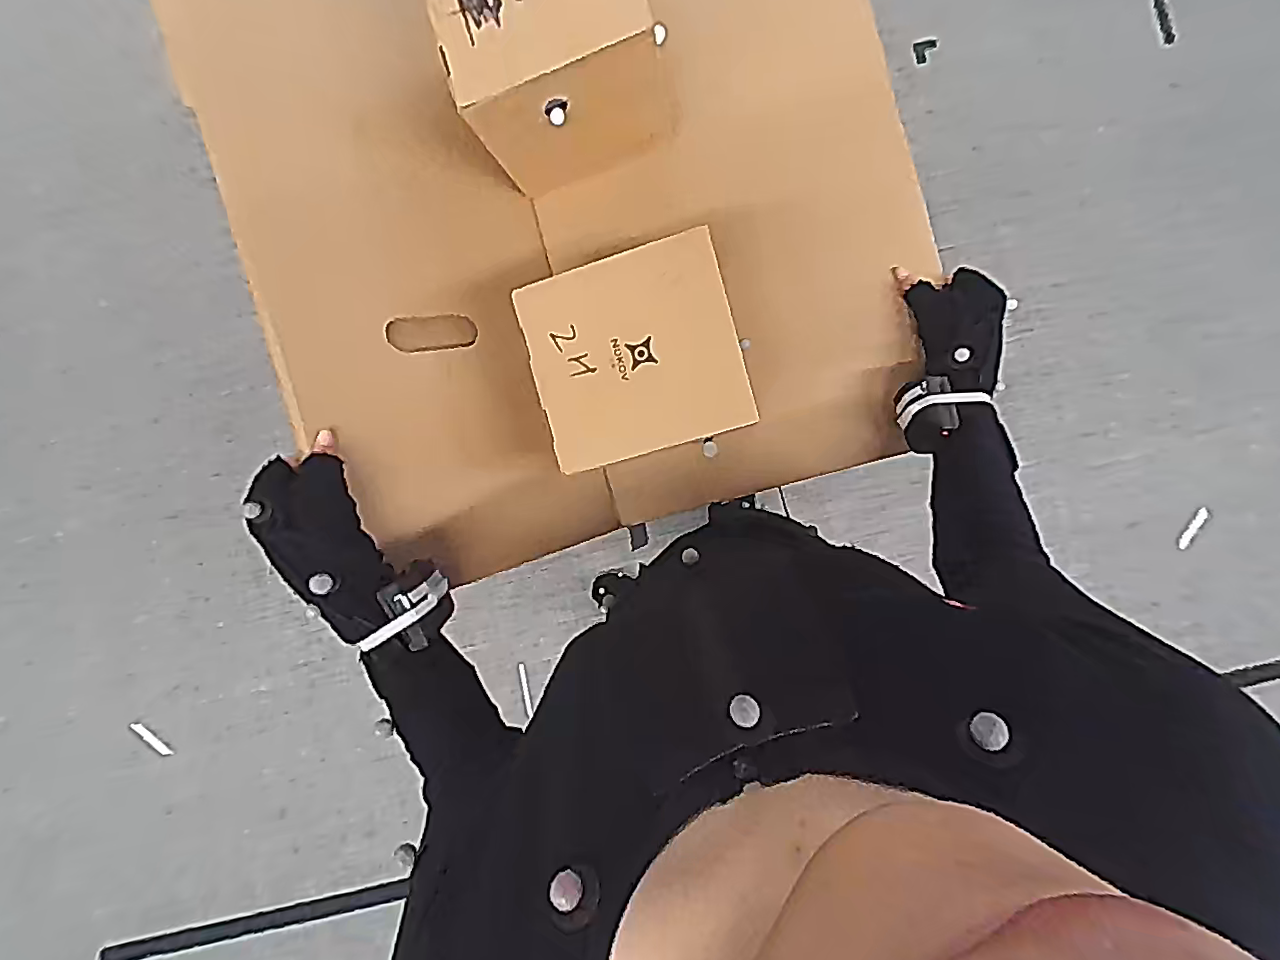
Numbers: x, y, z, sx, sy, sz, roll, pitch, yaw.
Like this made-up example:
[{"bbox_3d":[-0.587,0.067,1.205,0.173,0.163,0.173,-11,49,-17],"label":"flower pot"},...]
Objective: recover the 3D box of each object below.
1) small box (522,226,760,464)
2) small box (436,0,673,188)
[{"bbox_3d":[0.010,-0.118,0.538,0.179,0.176,0.168,-14,91,10],"label":"small box"},{"bbox_3d":[-0.076,-0.424,0.530,0.179,0.176,0.168,-16,91,9],"label":"small box"}]
